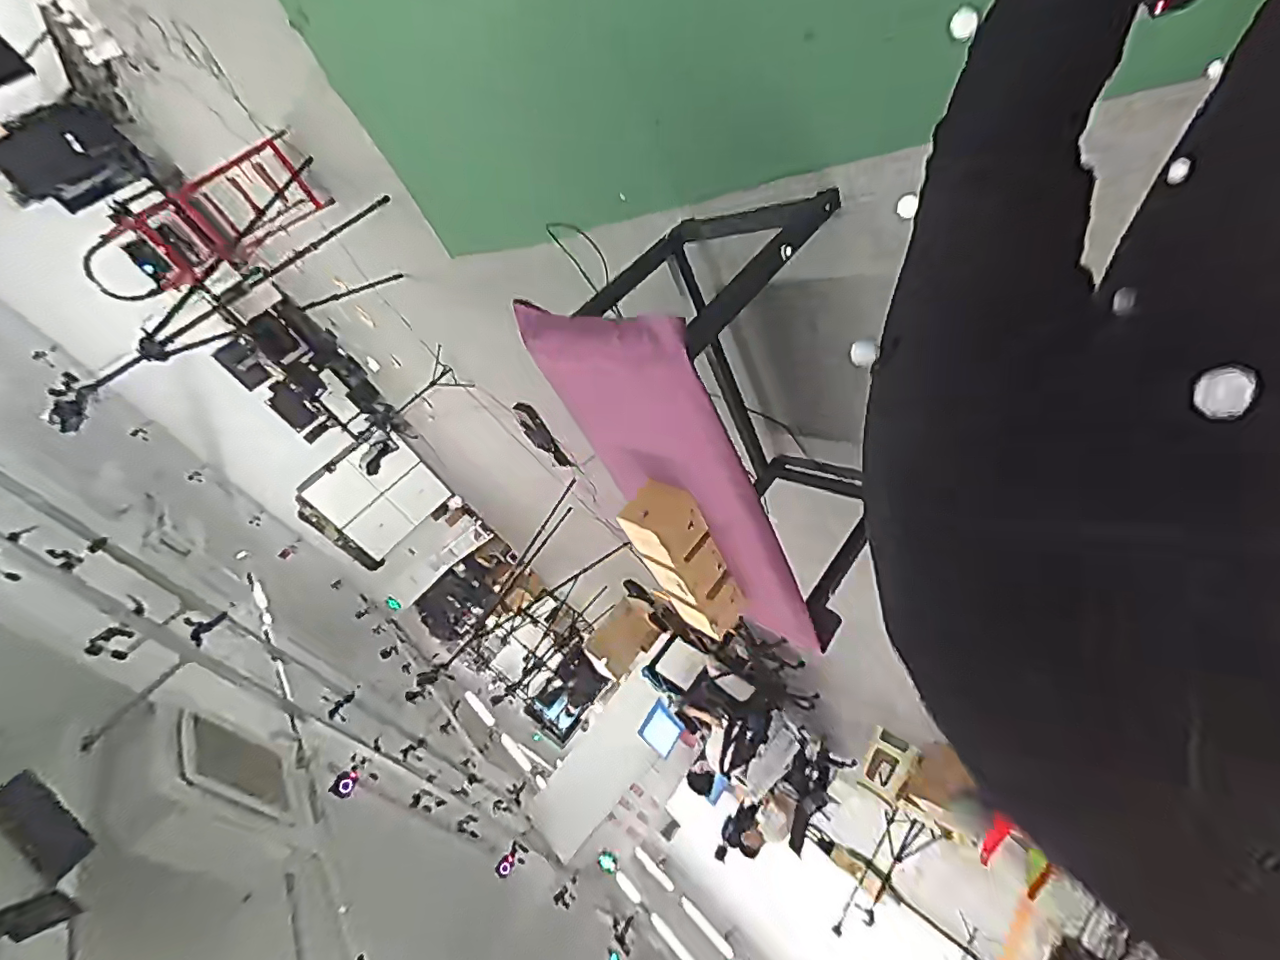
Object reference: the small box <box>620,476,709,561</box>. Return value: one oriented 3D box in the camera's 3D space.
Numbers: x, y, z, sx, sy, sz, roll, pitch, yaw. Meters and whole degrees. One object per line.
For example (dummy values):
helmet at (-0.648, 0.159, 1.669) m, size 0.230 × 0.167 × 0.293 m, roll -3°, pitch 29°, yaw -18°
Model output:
small box at (0.077, 0.109, 1.631) m, size 0.179 × 0.176 × 0.168 m, roll 19°, pitch 149°, yaw 46°

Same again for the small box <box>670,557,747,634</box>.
small box at (0.243, 0.394, 1.882) m, size 0.179 × 0.176 × 0.168 m, roll 19°, pitch 149°, yaw 46°
